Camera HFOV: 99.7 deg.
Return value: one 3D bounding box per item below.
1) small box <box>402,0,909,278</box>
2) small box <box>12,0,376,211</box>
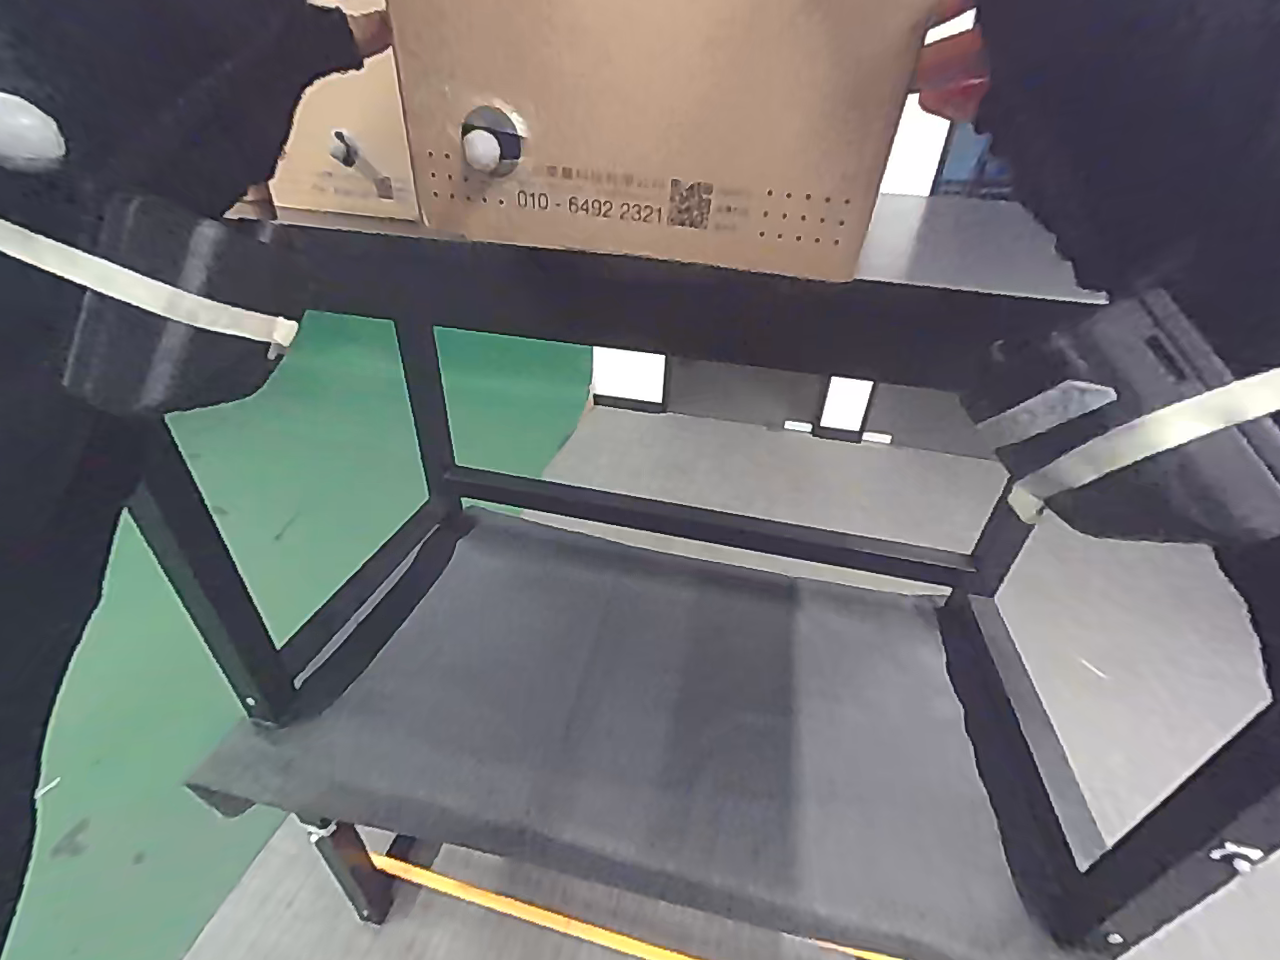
[{"bbox_3d":[0.015,-0.197,0.229,0.168,0.176,0.179,10,36,6],"label":"small box"},{"bbox_3d":[-0.365,-0.341,0.478,0.168,0.176,0.179,10,33,10],"label":"small box"}]
